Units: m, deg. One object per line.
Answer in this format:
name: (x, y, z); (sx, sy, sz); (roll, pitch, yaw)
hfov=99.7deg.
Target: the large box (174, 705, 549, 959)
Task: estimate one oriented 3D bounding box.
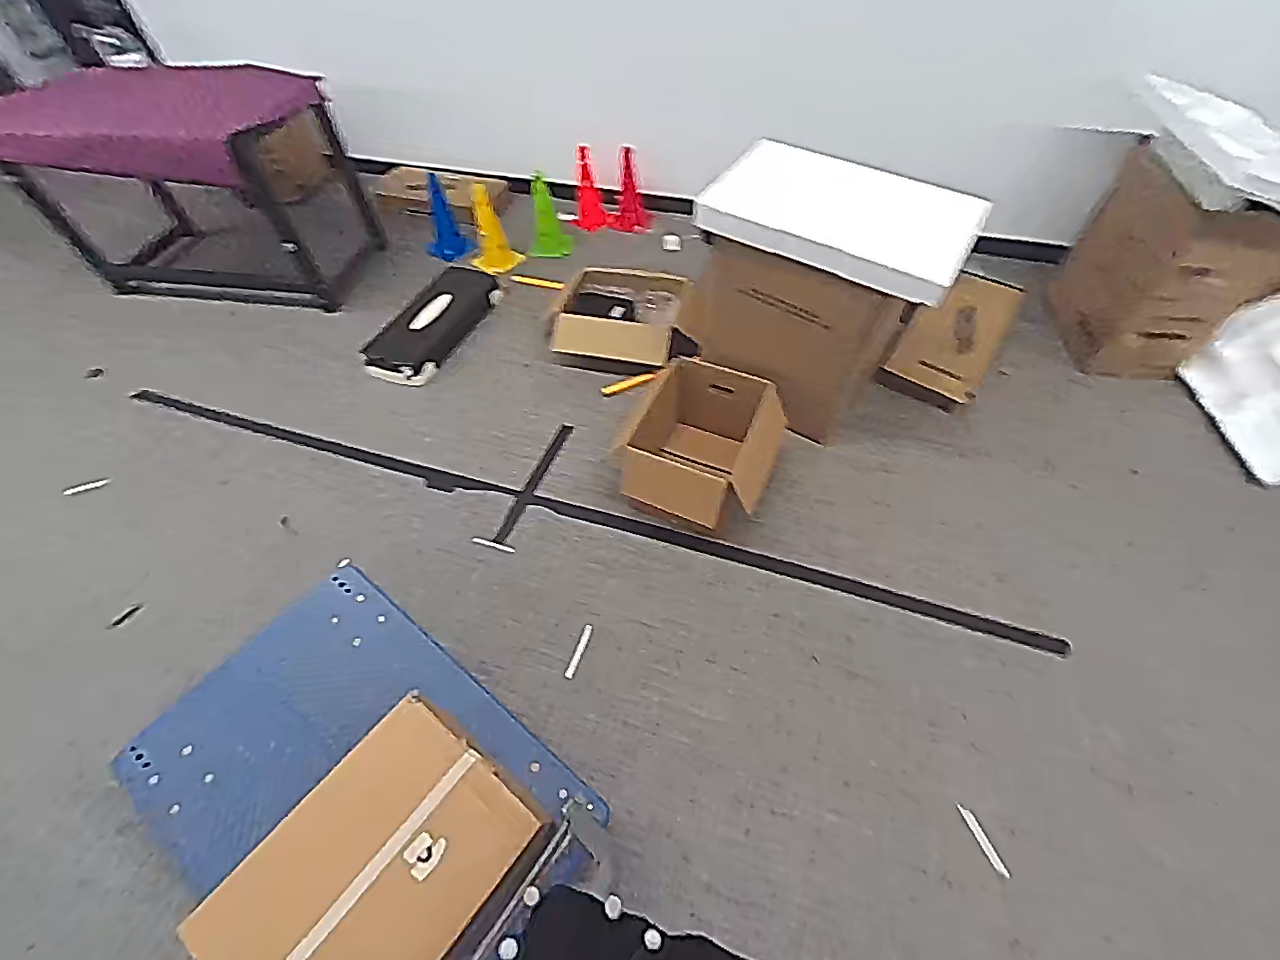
large box: (-0.405, 0.667, 0.900); (0.320, 0.320, 0.408); (35, 61, 16)
